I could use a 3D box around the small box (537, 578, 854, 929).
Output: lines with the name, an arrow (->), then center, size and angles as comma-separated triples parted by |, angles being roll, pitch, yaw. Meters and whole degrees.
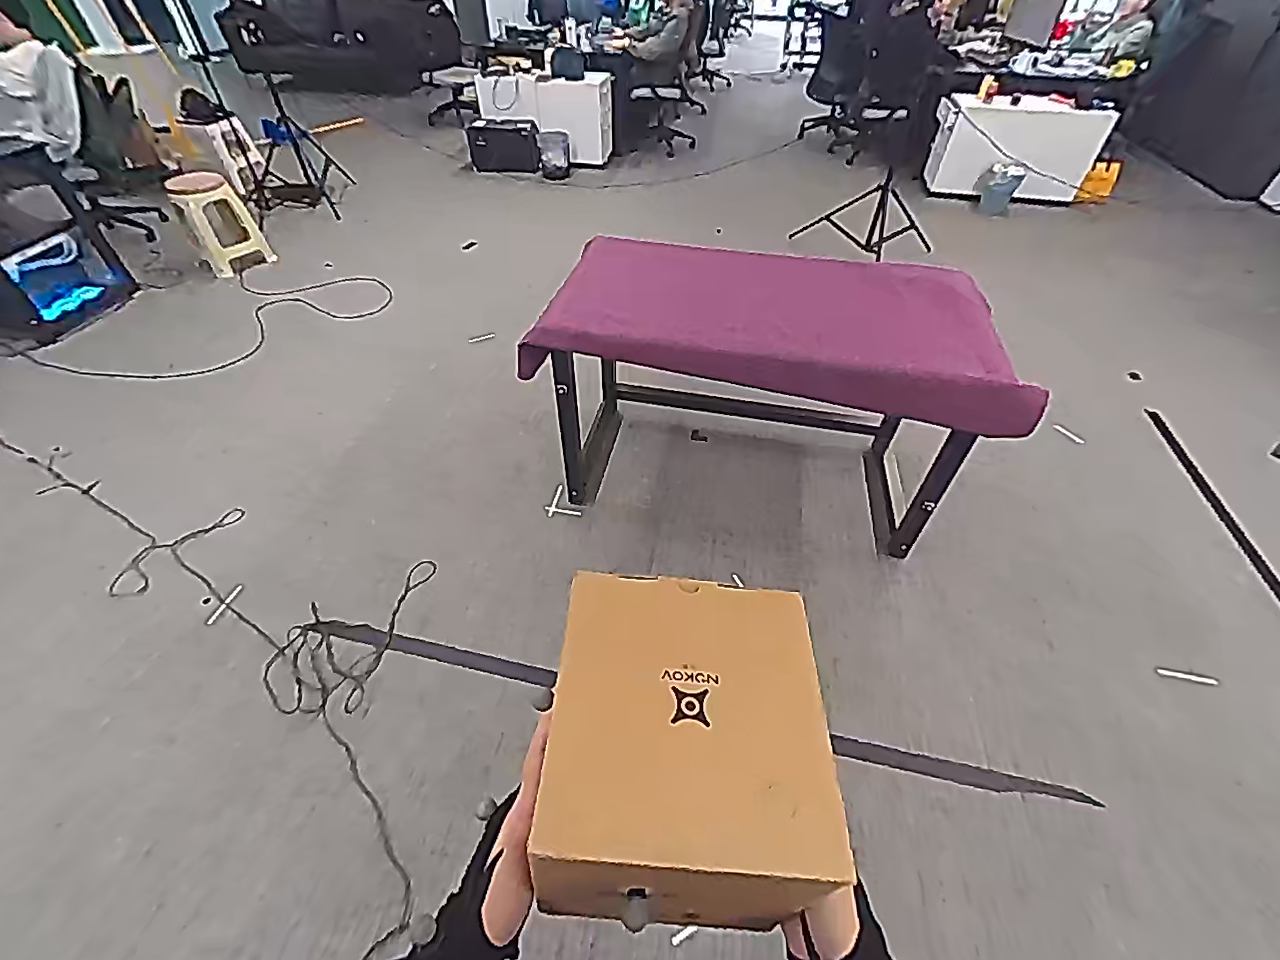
small box -> 0.027, 0.196, 0.388 | 0.168, 0.176, 0.179 | 6, 42, -2
